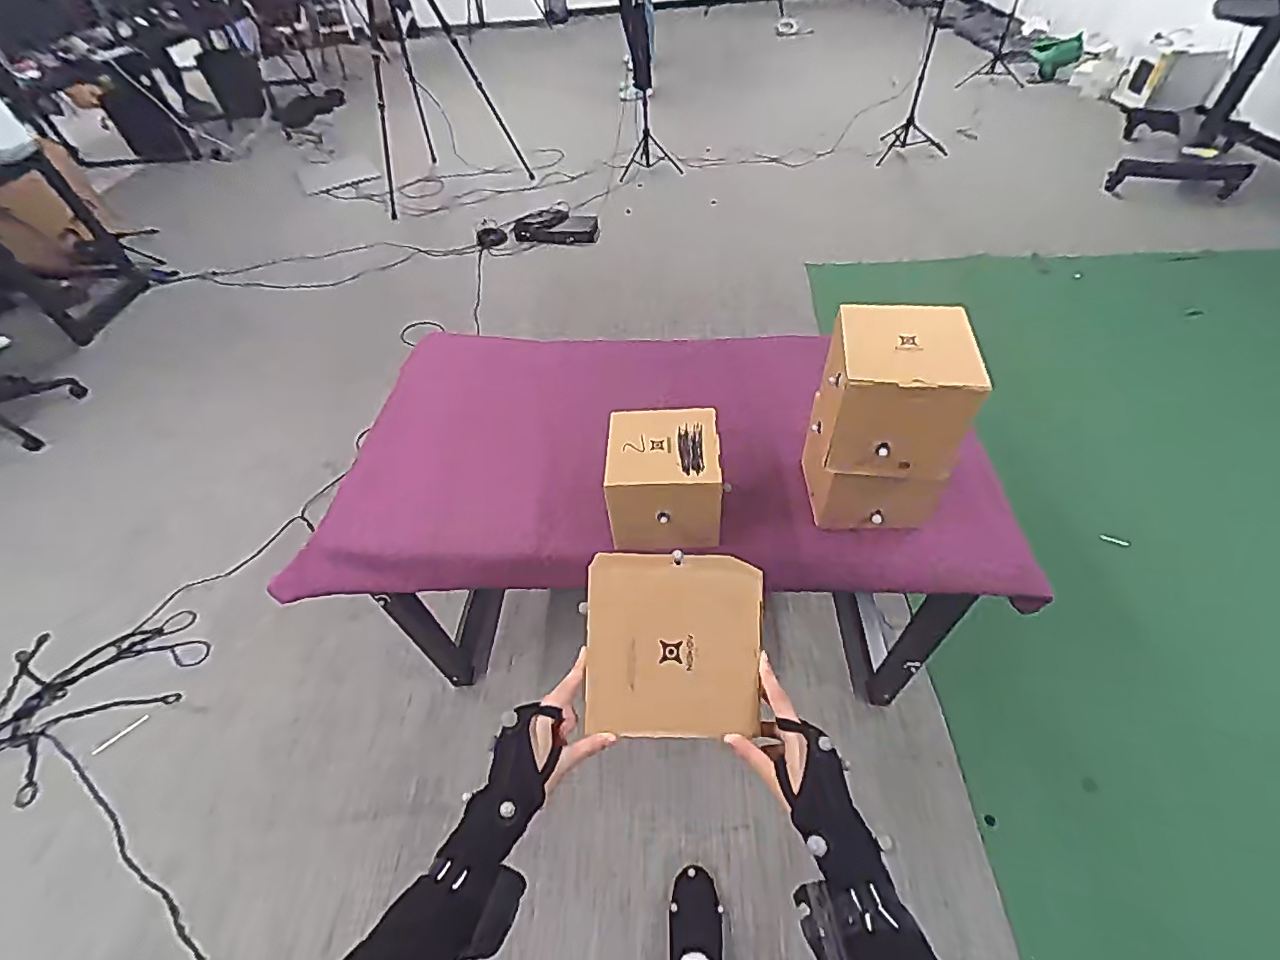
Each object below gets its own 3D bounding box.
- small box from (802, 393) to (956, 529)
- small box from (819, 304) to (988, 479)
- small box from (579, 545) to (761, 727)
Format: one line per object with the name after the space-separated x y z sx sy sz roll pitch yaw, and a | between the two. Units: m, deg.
0.378 -0.032 0.894 0.179 0.176 0.168 -1 47 5 | small box
0.351 -0.126 0.761 0.168 0.176 0.179 5 50 11 | small box
0.028 0.161 0.609 0.179 0.176 0.168 2 86 -1 | small box
